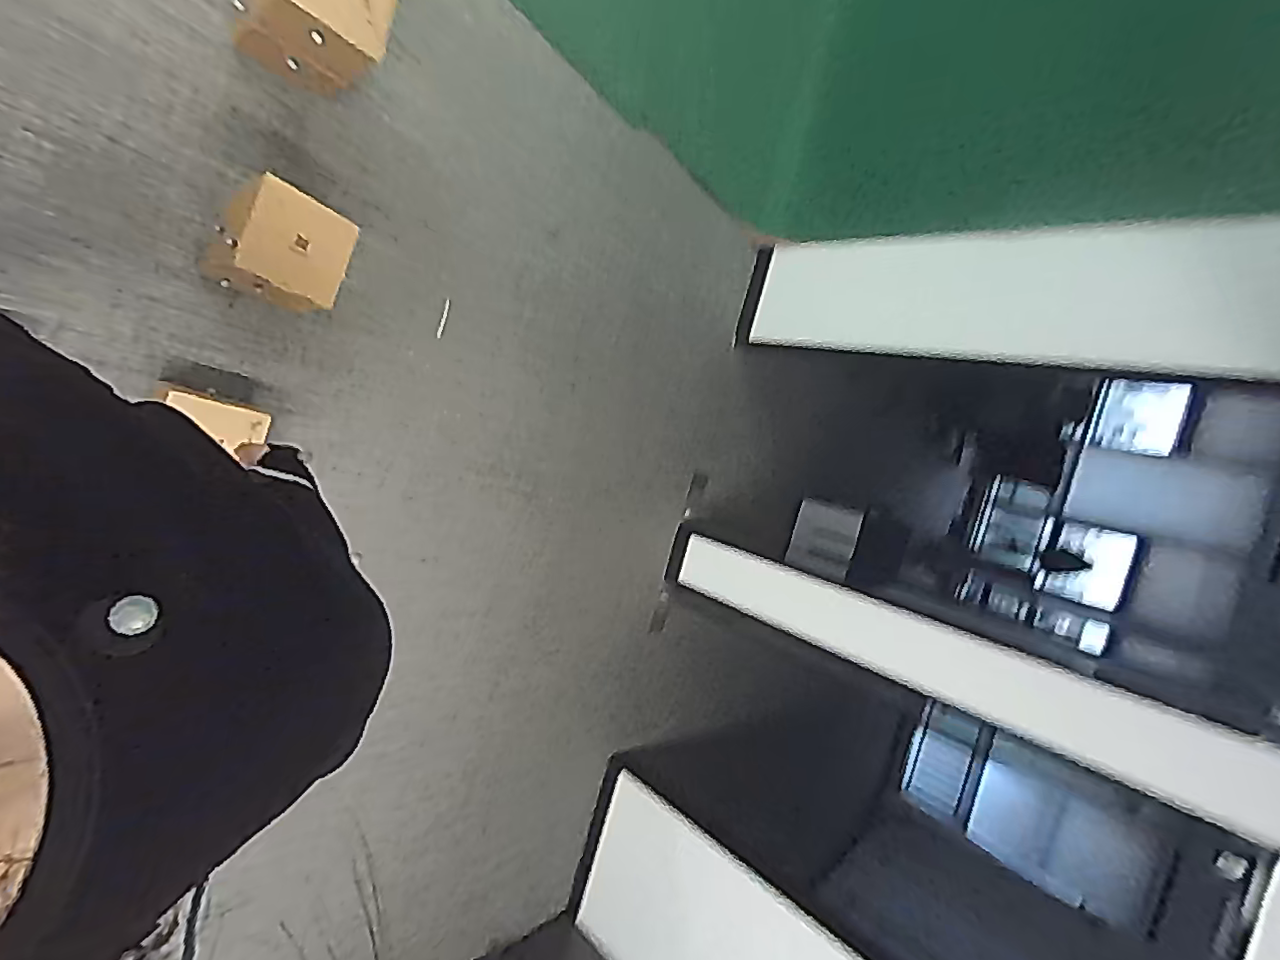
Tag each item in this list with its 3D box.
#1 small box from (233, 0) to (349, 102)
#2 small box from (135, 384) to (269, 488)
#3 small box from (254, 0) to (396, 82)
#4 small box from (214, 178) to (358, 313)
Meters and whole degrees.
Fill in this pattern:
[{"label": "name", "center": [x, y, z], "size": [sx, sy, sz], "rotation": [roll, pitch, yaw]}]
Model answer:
[{"label": "small box", "center": [-0.701, -0.920, 1.111], "size": [0.179, 0.176, 0.168], "rotation": [14, 94, -50]}, {"label": "small box", "center": [-0.933, -0.096, 1.148], "size": [0.179, 0.176, 0.168], "rotation": [19, 89, -49]}, {"label": "small box", "center": [-0.583, -0.884, 1.002], "size": [0.179, 0.176, 0.168], "rotation": [12, 96, -50]}, {"label": "small box", "center": [-0.687, -0.445, 1.045], "size": [0.168, 0.176, 0.179], "rotation": [22, 87, -50]}]
